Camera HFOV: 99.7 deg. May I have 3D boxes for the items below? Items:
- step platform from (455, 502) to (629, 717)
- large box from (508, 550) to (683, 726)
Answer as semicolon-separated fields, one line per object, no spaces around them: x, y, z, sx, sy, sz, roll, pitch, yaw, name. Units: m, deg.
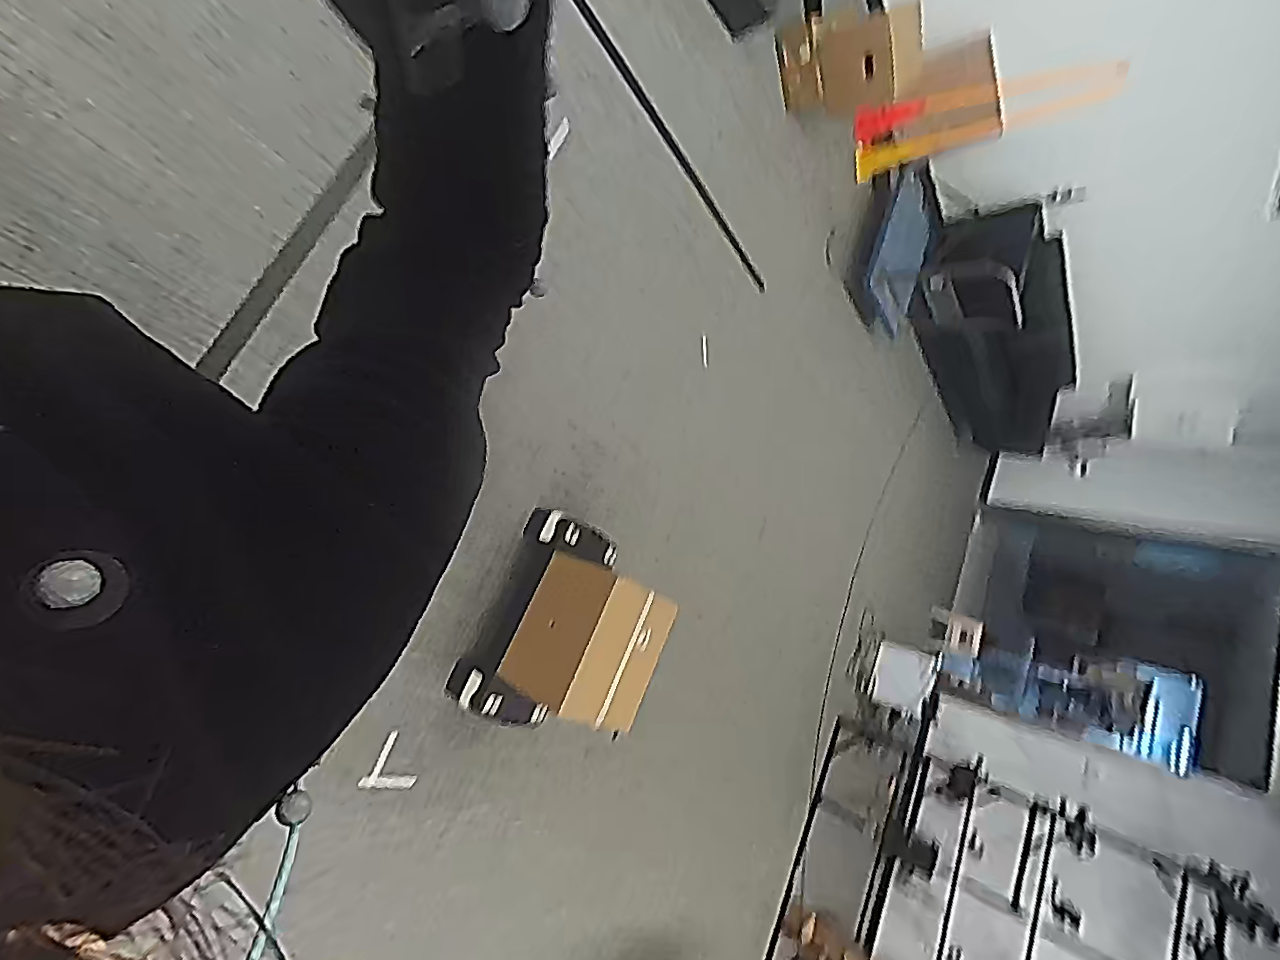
-0.304;0.423;1.808;0.286;0.204;0.684;43;66;-40;step platform
-0.132;0.473;1.648;0.320;0.320;0.408;37;70;-43;large box
